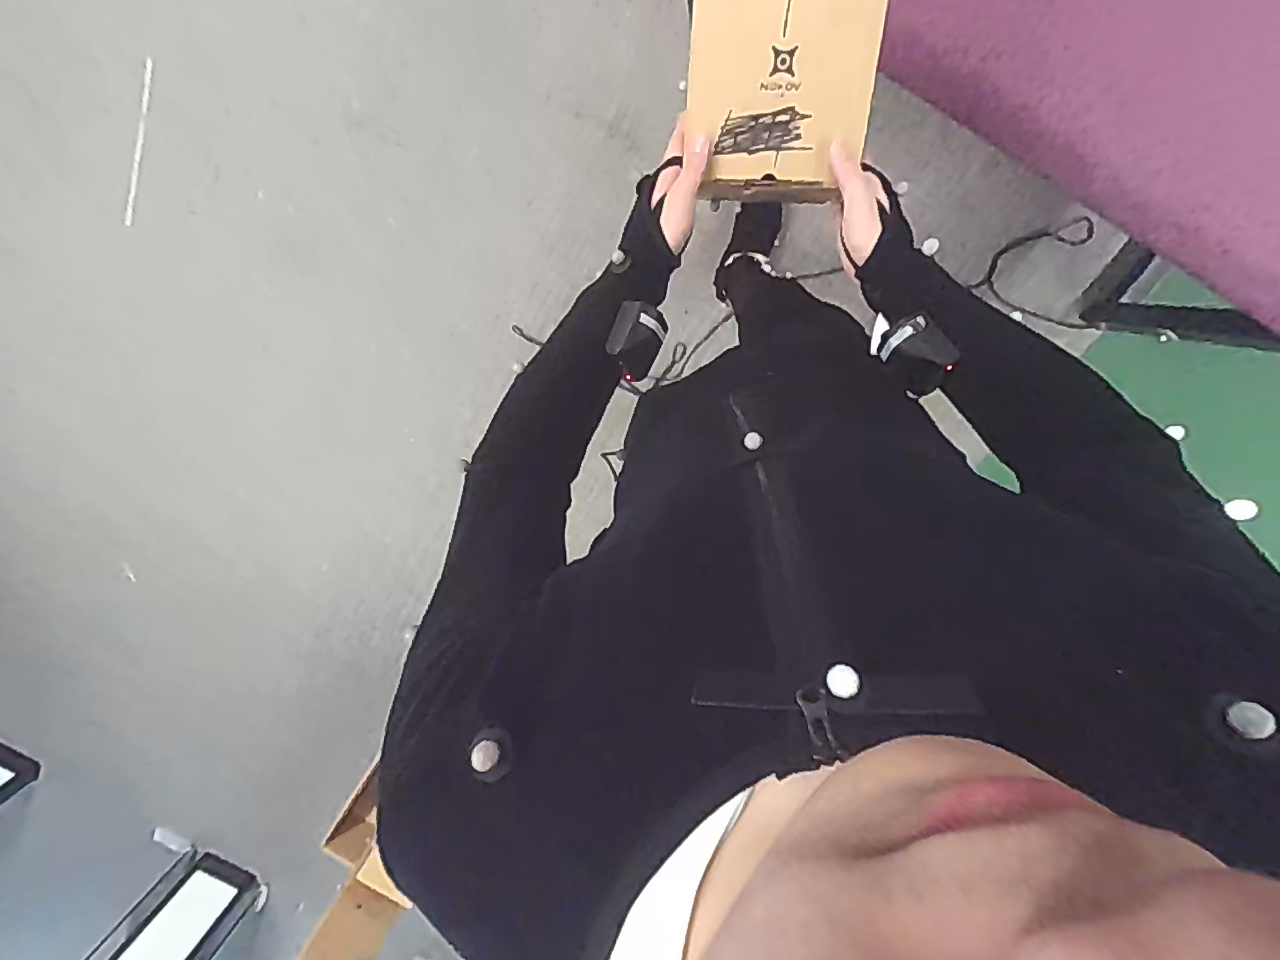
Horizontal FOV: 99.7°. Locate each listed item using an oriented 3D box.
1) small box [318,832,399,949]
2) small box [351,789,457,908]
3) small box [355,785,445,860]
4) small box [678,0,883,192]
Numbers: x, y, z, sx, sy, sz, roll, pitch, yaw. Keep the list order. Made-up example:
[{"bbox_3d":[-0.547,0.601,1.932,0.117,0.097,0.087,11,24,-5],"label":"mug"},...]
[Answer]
[{"bbox_3d":[-0.748,1.143,1.513,0.168,0.176,0.179,34,109,-4],"label":"small box"},{"bbox_3d":[-0.609,0.959,1.420,0.168,0.176,0.179,35,112,-4],"label":"small box"},{"bbox_3d":[-0.729,1.091,1.665,0.168,0.176,0.179,34,110,-5],"label":"small box"},{"bbox_3d":[0.133,-0.402,0.553,0.168,0.176,0.179,5,112,5],"label":"small box"}]
